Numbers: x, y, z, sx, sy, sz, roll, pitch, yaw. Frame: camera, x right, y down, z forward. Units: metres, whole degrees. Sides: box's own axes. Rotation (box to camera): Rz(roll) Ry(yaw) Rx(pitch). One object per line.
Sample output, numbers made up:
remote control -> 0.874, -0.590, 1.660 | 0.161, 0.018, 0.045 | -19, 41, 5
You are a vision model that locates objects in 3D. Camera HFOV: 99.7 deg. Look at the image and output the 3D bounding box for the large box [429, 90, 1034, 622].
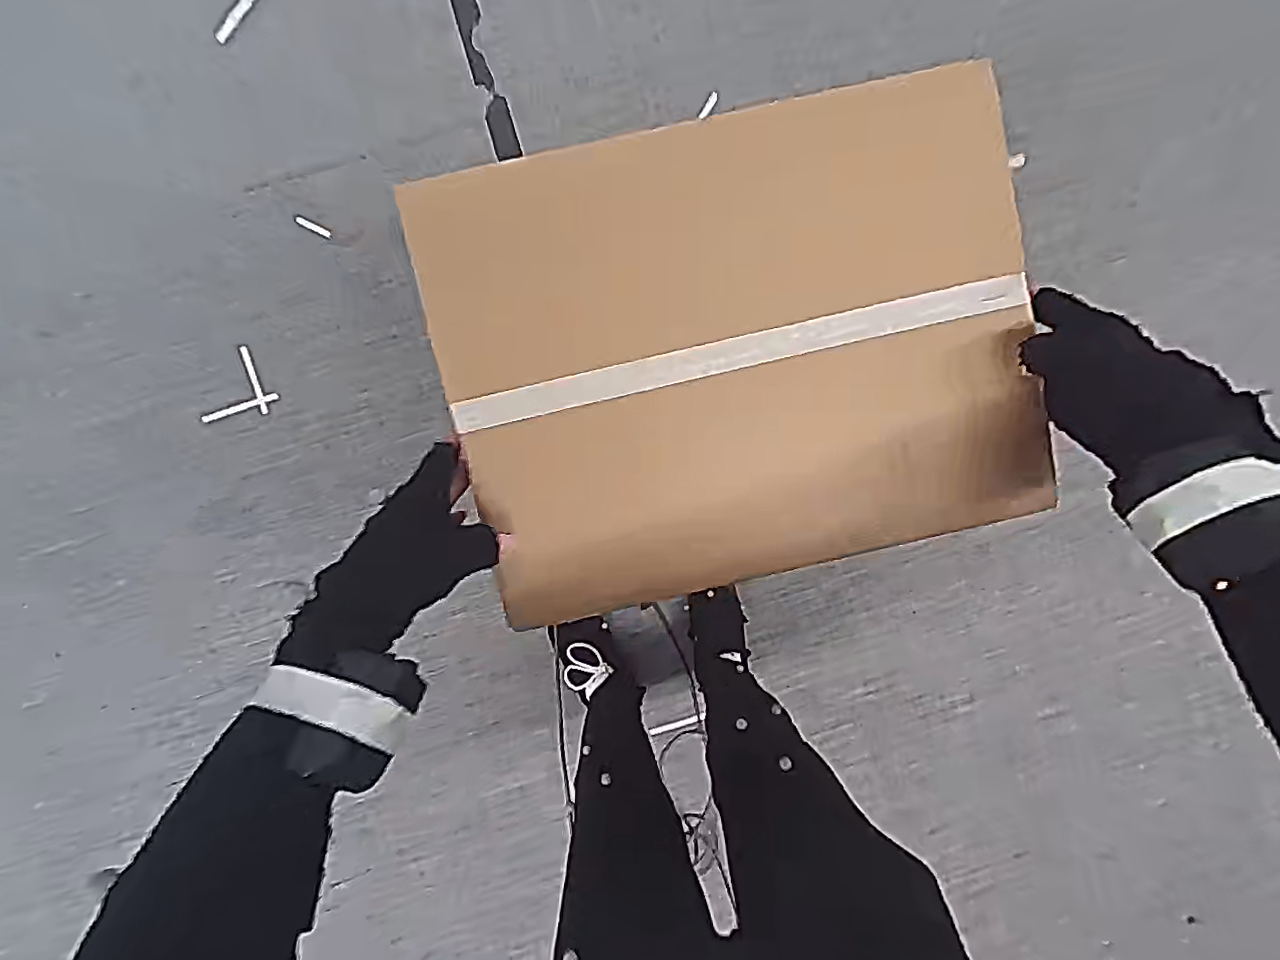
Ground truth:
large box -> 0.069, -0.097, 0.545 | 0.408, 0.320, 0.320 | -14, 96, -1
